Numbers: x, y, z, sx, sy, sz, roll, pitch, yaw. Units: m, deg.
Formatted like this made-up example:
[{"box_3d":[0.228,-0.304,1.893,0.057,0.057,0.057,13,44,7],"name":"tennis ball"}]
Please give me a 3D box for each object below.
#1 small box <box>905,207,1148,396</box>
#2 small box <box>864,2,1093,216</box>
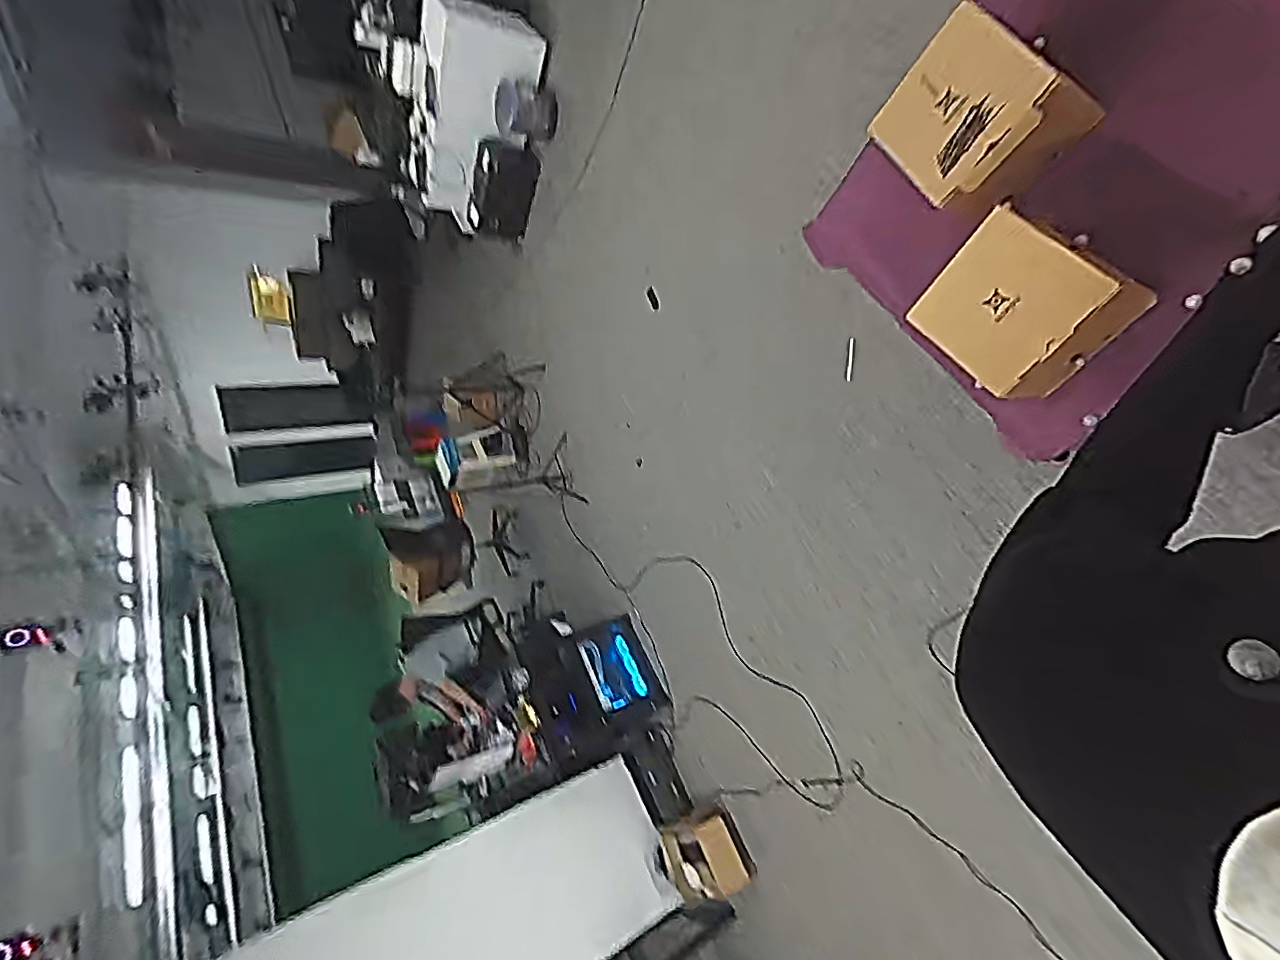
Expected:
[{"box_3d":[0.507,-0.228,0.720,0.179,0.176,0.168,57,138,29],"name":"small box"},{"box_3d":[0.455,-0.484,0.732,0.168,0.176,0.179,-51,57,47],"name":"small box"}]
